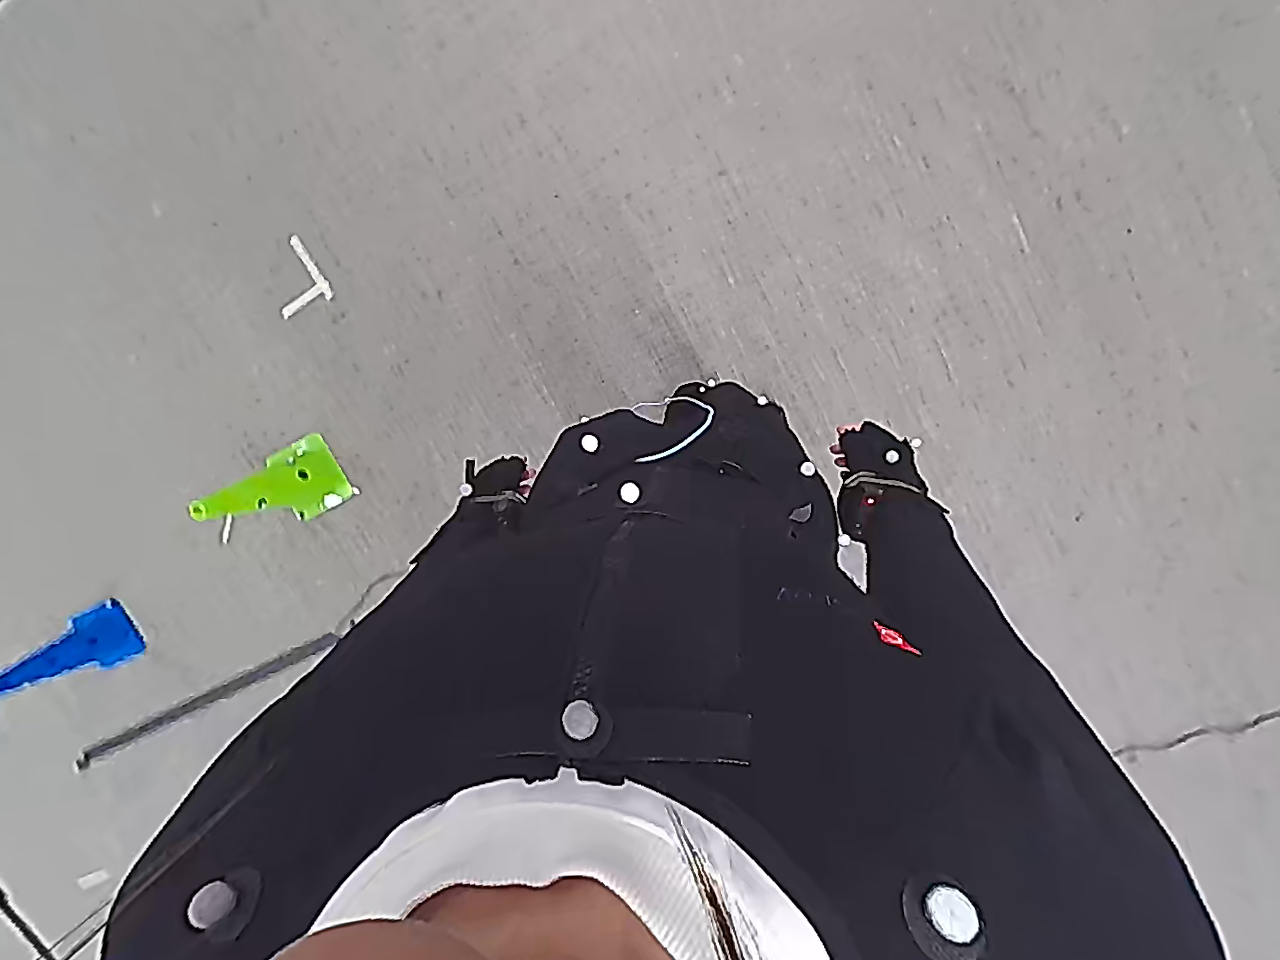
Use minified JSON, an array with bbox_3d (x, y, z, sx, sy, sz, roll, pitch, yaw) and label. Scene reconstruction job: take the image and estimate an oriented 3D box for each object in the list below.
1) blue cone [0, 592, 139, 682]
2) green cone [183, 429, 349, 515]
[{"bbox_3d":[-1.714,0.498,1.558,0.193,0.380,0.192,-22,98,10],"label":"blue cone"},{"bbox_3d":[-0.959,0.014,1.357,0.200,0.368,0.202,-26,97,11],"label":"green cone"}]
